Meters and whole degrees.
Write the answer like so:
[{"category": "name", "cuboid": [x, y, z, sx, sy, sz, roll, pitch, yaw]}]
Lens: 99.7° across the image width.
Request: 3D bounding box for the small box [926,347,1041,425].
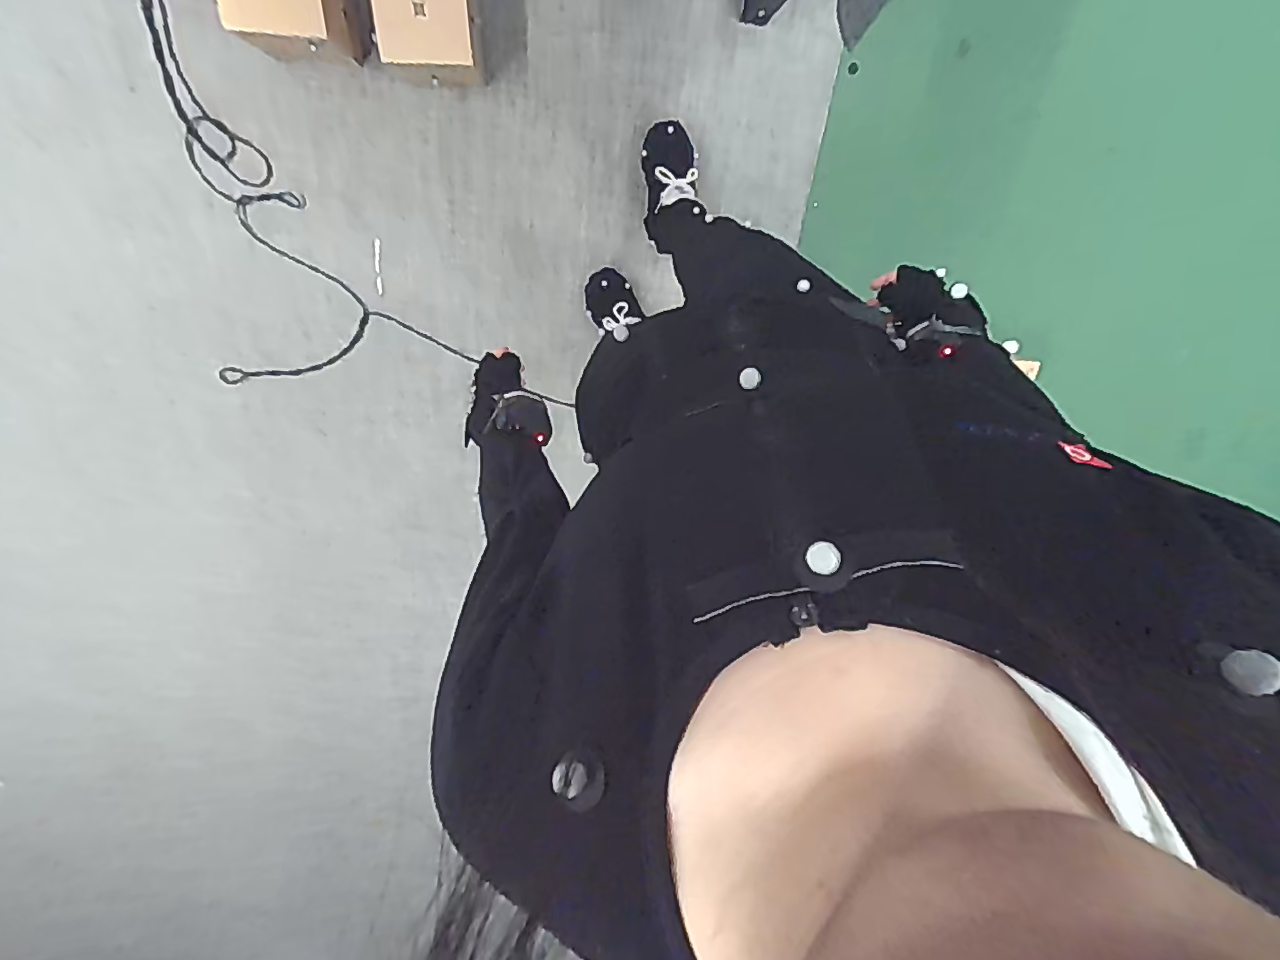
[{"category": "small box", "cuboid": [0.914, -0.257, 1.458, 0.179, 0.176, 0.168, 3, 114, -7]}]
